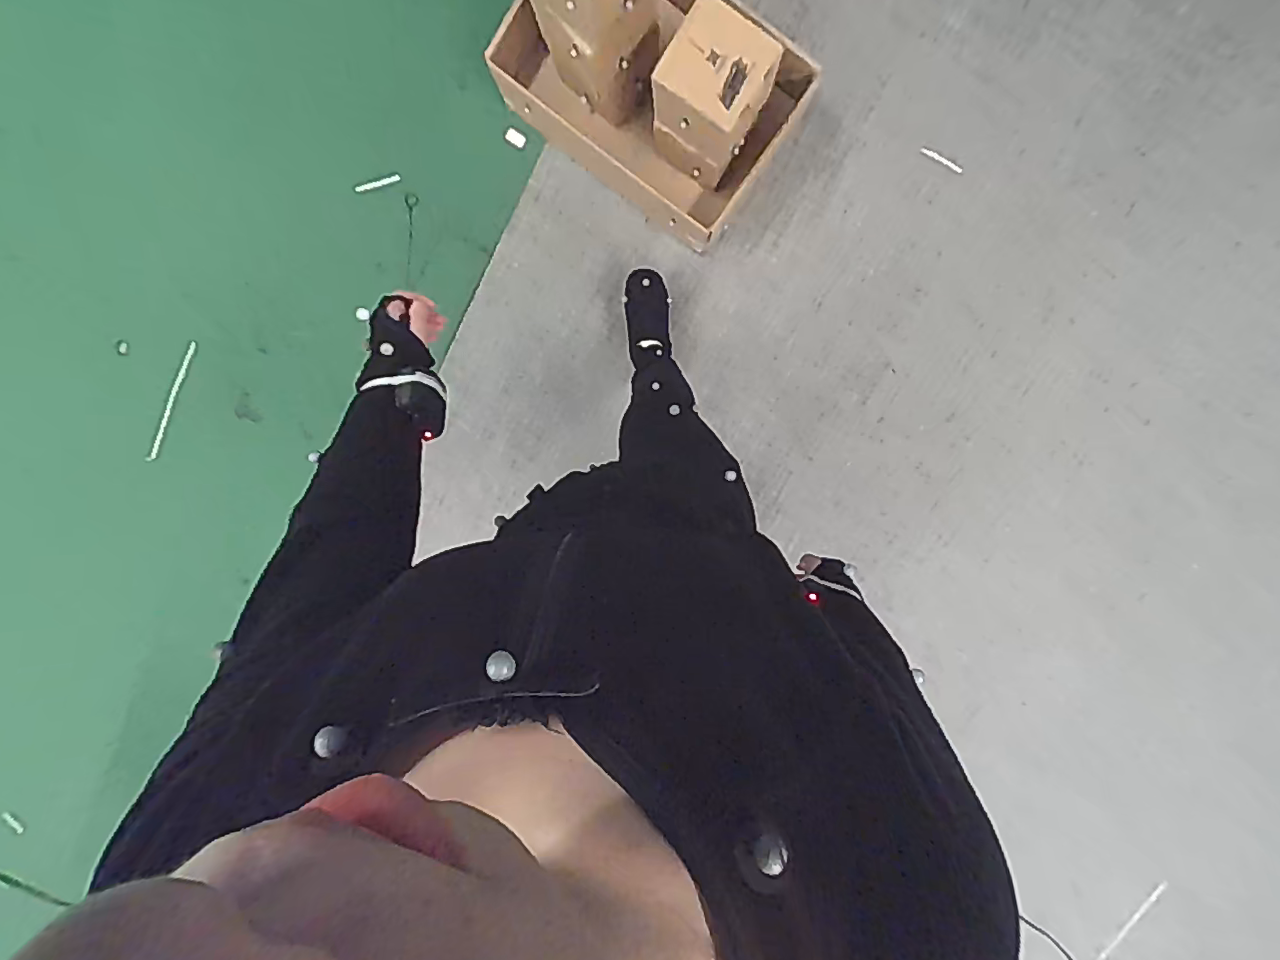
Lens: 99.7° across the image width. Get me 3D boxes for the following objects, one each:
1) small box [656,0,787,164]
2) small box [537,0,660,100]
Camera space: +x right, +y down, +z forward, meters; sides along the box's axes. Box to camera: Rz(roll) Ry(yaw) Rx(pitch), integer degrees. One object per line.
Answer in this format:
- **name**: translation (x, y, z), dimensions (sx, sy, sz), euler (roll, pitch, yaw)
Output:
- **small box**: translation (0.151, -0.745, 1.037), dimensions (0.179, 0.176, 0.168), euler (35, 101, -1)
- **small box**: translation (-0.079, -0.885, 1.033), dimensions (0.168, 0.176, 0.179), euler (-43, 97, 9)
